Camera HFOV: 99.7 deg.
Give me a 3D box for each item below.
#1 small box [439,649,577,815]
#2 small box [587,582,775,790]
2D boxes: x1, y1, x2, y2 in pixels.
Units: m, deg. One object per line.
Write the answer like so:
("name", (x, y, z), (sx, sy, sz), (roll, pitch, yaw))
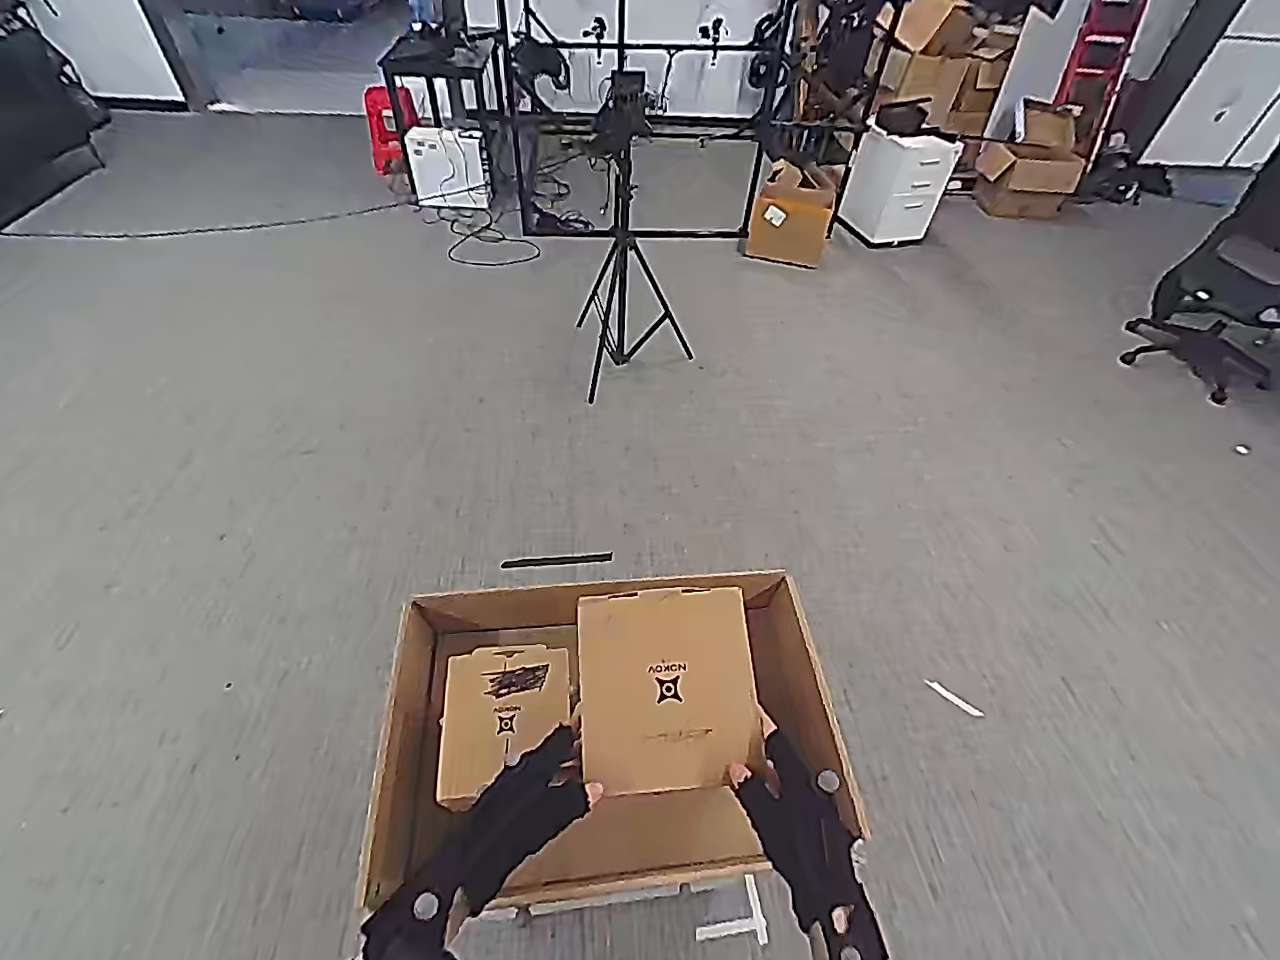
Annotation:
("small box", (-0.176, 0.359, 0.769), (0.168, 0.176, 0.179), (-3, 54, -7))
("small box", (0.030, 0.219, 0.582), (0.168, 0.176, 0.179), (-4, 67, -4))
